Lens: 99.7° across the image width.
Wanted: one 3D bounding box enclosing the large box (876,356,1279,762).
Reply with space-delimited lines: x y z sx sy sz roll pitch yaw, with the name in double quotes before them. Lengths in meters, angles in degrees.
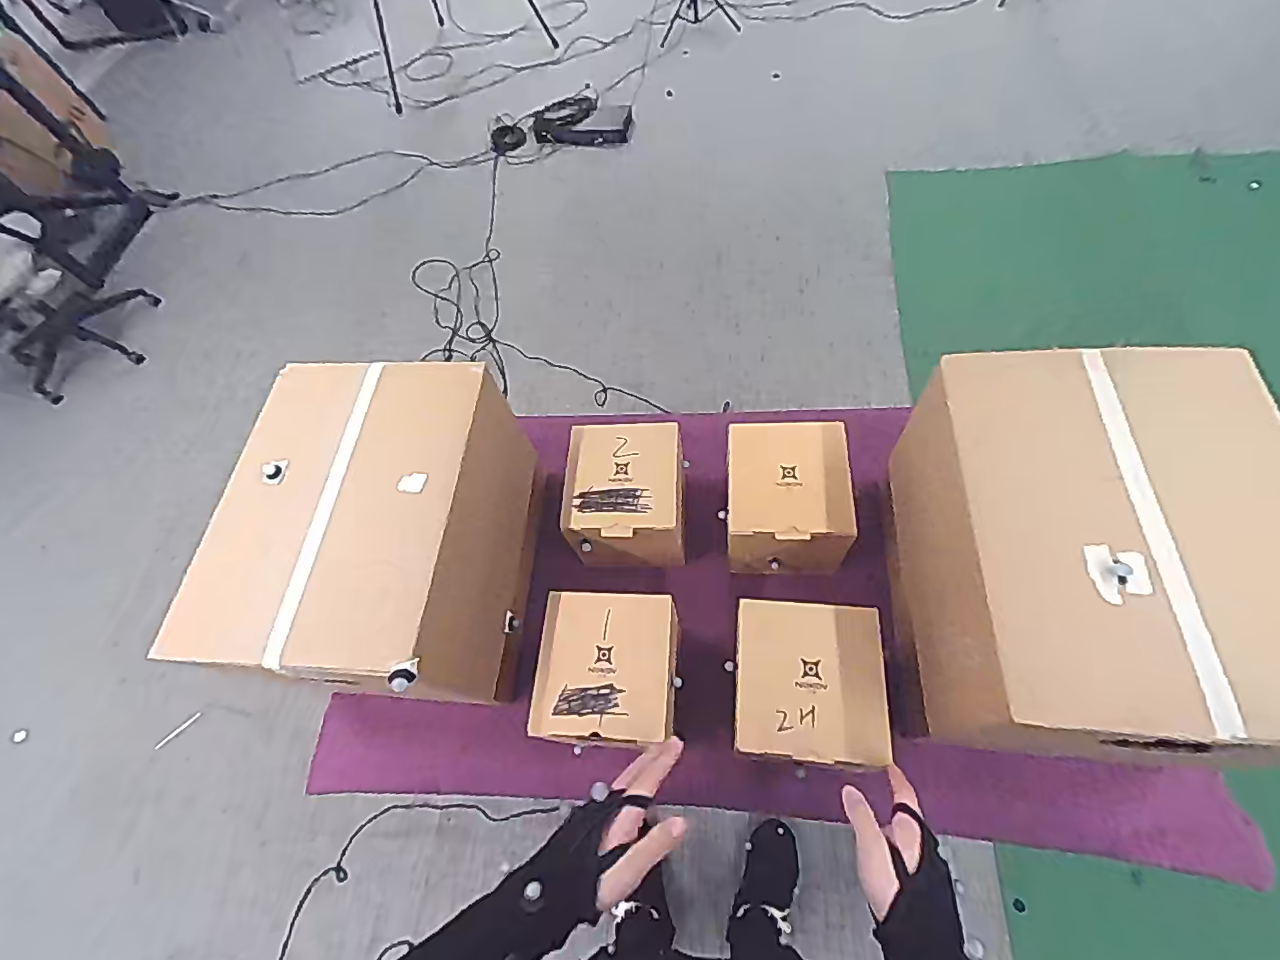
"large box" 0.507 0.104 0.658 0.320 0.320 0.408 1 63 10
